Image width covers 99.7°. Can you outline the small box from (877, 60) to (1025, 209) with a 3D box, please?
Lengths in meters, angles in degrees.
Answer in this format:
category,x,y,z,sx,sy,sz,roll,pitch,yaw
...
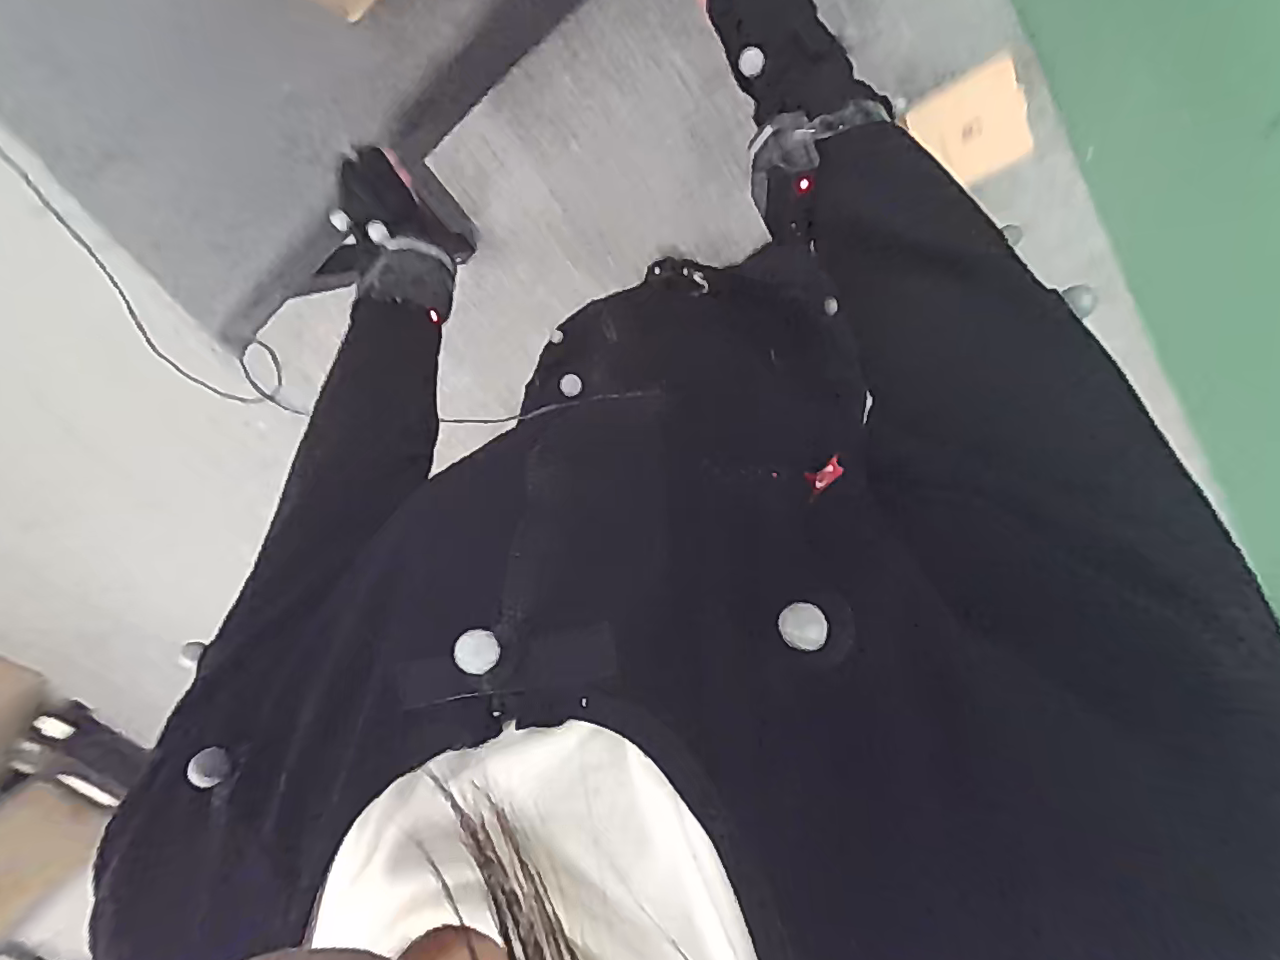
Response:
category,x,y,z,sx,sy,sz,roll,pitch,yaw
small box,0.577,-0.638,1.023,0.179,0.176,0.168,-24,109,20
